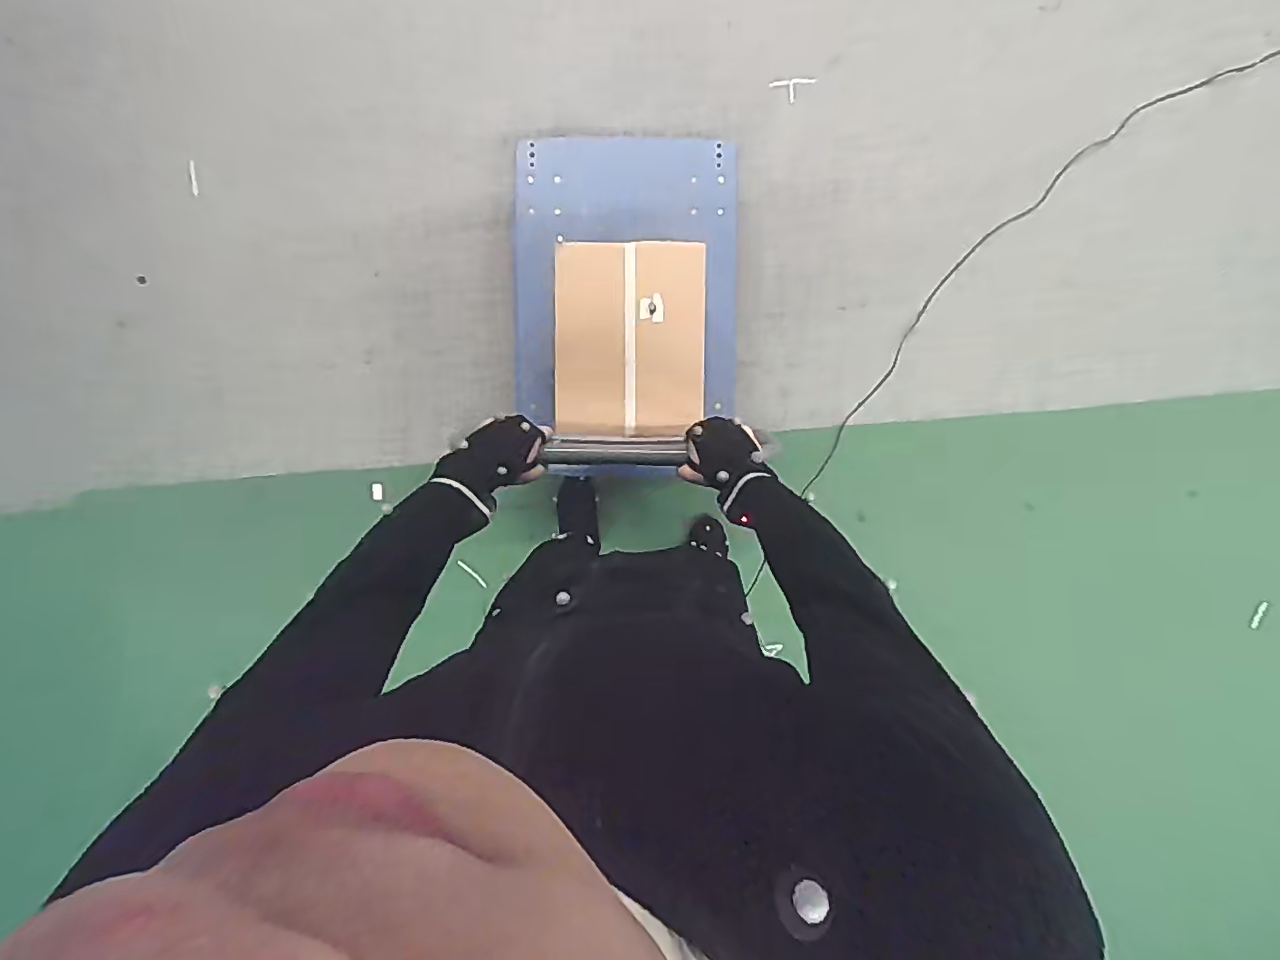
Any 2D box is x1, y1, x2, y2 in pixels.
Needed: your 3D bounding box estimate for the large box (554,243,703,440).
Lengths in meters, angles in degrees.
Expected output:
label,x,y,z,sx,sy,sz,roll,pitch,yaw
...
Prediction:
label,x,y,z,sx,sy,sz,roll,pitch,yaw
large box,-0.022,-0.301,1.285,0.320,0.320,0.408,0,93,0
